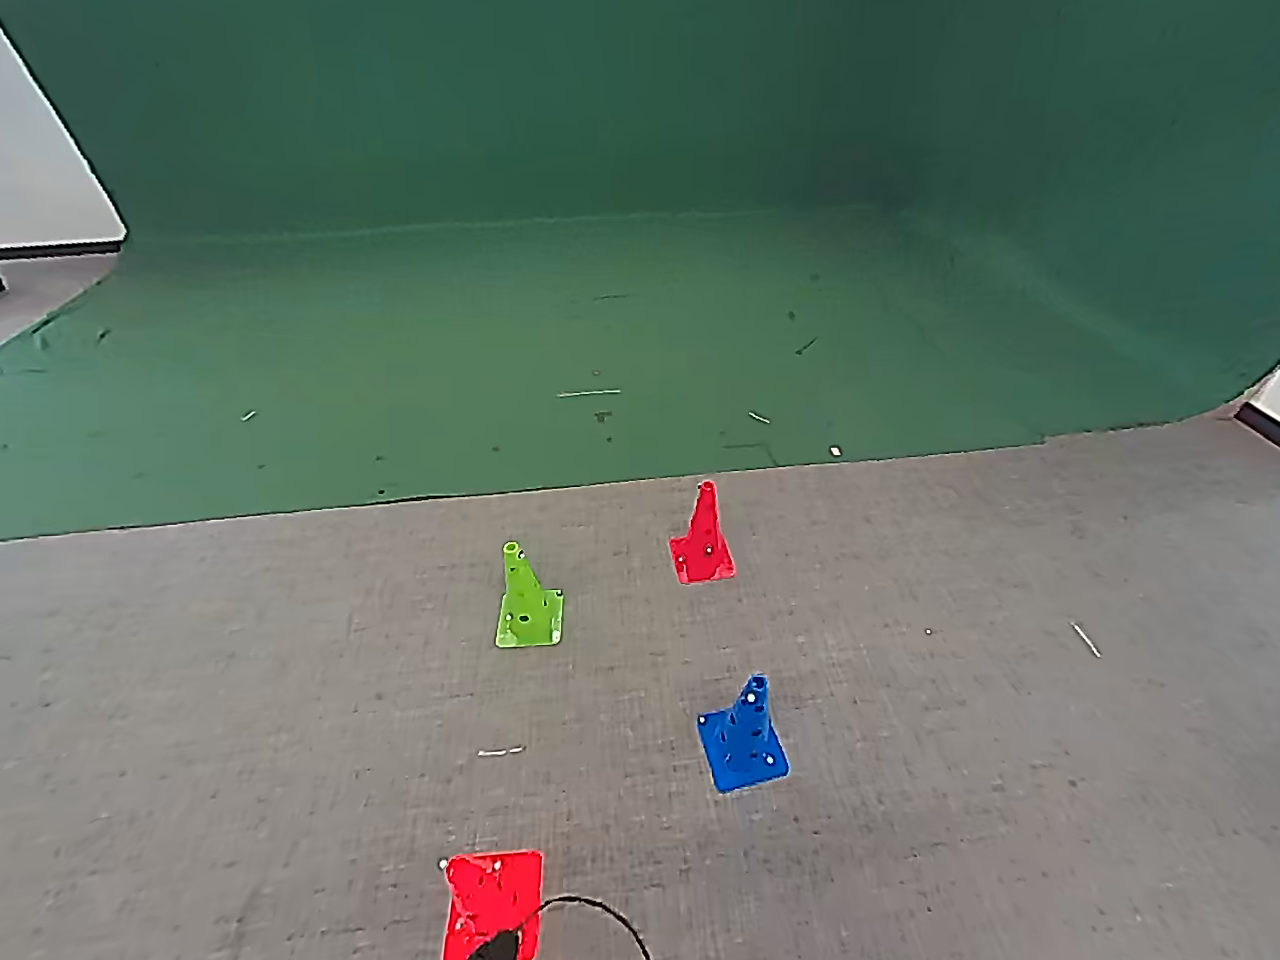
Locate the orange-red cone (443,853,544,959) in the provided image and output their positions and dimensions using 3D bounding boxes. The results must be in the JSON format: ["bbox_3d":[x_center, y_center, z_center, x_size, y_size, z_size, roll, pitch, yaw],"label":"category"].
[{"bbox_3d":[-0.317,0.813,1.076,0.198,0.360,0.199,-1,41,-1],"label":"orange-red cone"}]

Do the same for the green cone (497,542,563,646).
[{"bbox_3d":[-0.353,0.311,1.608,0.200,0.368,0.202,-4,44,-2],"label":"green cone"}]
